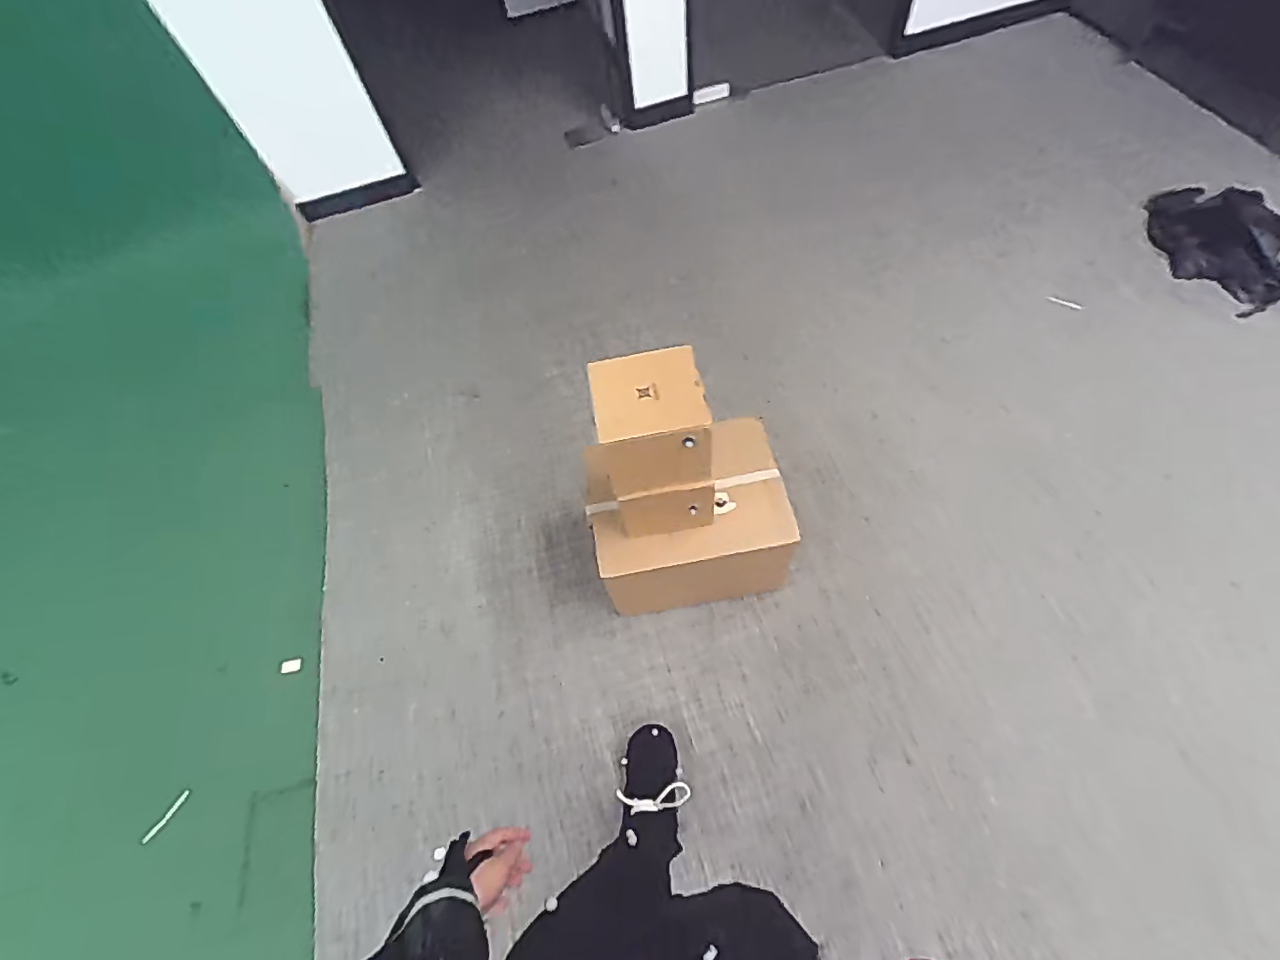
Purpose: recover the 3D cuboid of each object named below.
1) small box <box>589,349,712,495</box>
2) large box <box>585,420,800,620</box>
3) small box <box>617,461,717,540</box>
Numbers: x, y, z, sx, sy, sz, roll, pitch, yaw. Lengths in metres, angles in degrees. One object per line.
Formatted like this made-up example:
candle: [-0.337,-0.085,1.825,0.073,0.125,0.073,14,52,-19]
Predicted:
small box: [0.021,-0.090,0.912,0.179,0.176,0.168,-10,59,0]
large box: [0.108,0.105,1.259,0.408,0.320,0.320,-10,61,-1]
small box: [0.045,0.000,1.046,0.179,0.176,0.168,-11,59,1]
